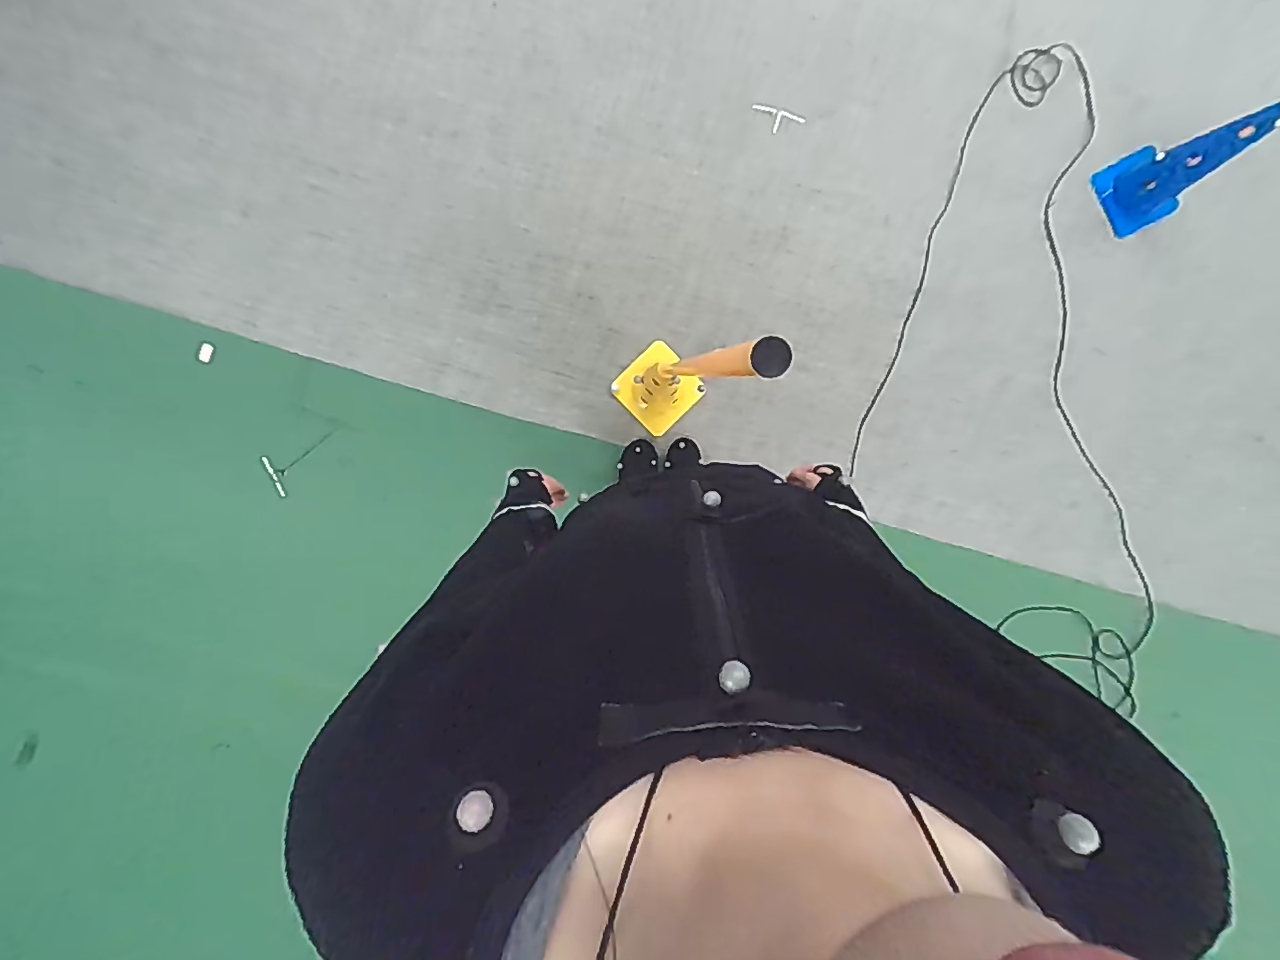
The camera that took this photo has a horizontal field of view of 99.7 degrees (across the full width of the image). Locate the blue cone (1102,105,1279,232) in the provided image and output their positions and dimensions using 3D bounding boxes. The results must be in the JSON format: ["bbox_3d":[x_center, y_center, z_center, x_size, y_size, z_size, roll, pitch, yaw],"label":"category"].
[{"bbox_3d":[1.385,-0.801,1.321,0.193,0.380,0.192,-29,92,-3],"label":"blue cone"}]
